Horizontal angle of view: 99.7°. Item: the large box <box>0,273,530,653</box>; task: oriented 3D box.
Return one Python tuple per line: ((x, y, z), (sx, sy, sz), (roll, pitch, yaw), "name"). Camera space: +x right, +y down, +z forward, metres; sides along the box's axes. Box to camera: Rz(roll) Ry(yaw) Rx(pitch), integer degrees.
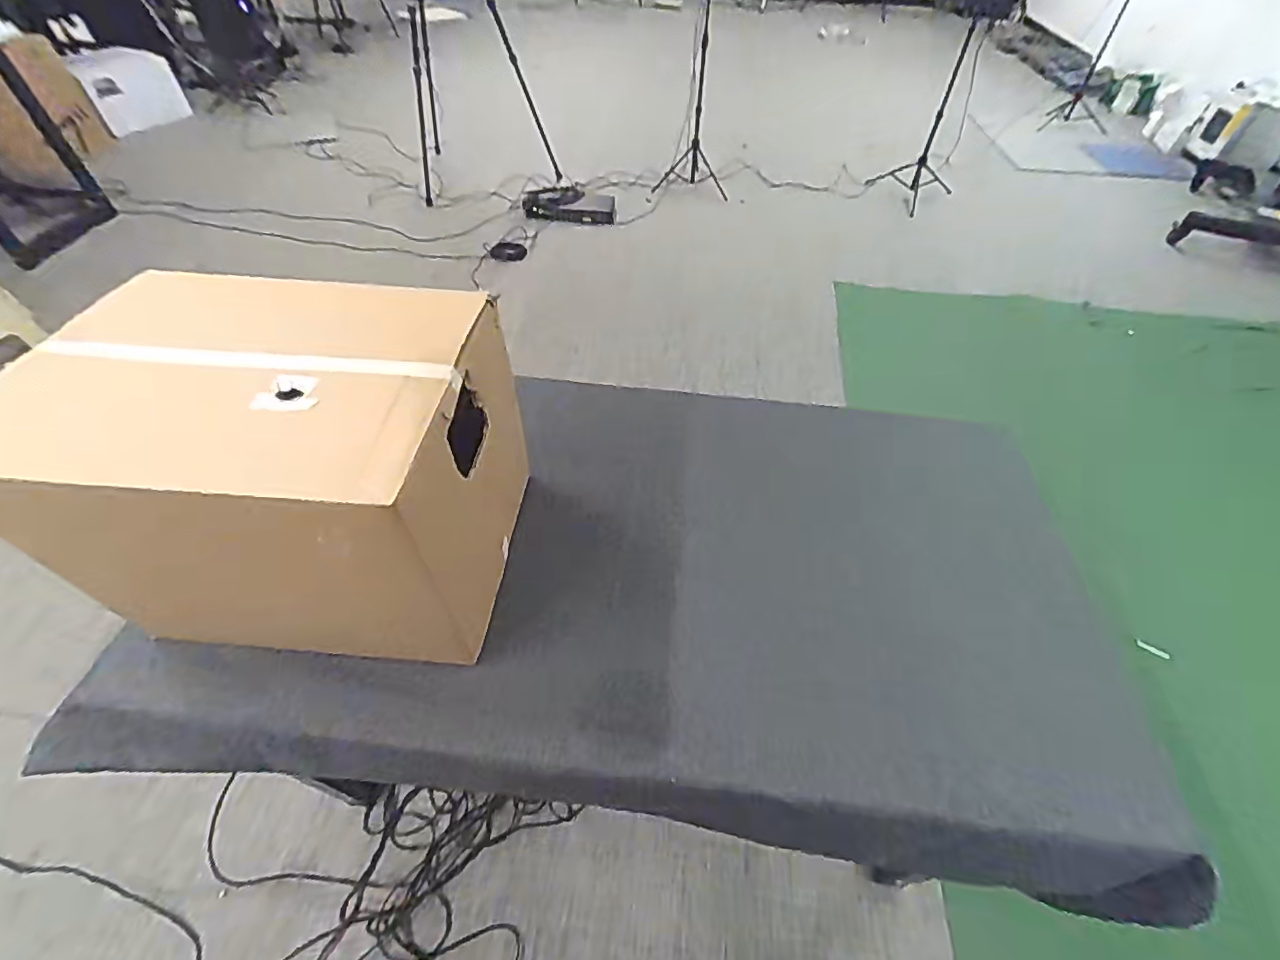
((-0.369, -0.014, 0.637), (0.408, 0.320, 0.320), (5, 50, 0), "large box")
